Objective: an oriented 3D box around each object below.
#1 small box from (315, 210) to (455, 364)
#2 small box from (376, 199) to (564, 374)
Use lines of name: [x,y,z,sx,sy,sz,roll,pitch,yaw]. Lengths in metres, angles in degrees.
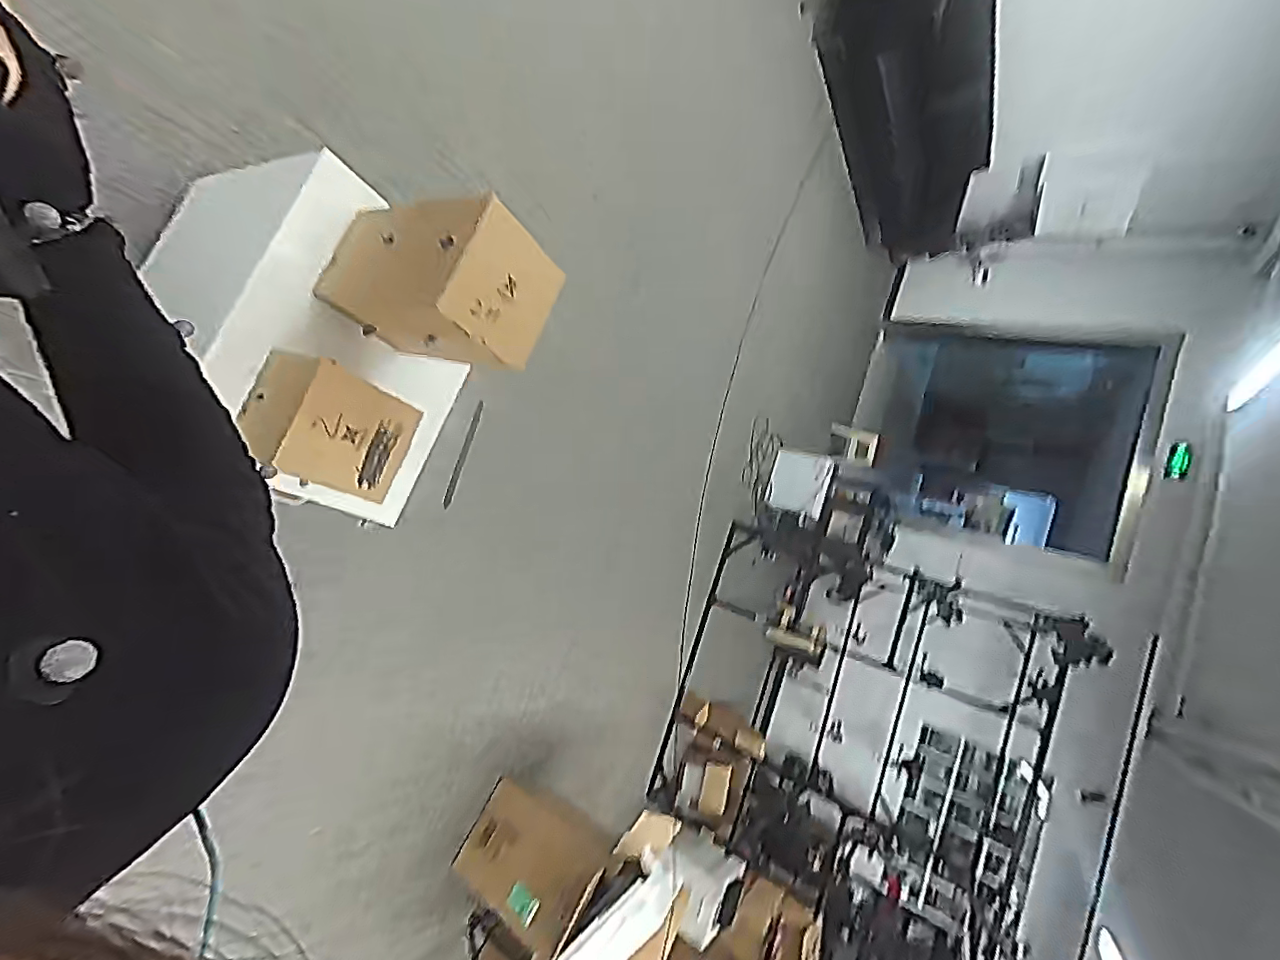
small box: [-0.381,-0.316,0.889,0.179,0.176,0.168,39,70,-56]
small box: [-0.249,-0.281,0.796,0.168,0.176,0.179,37,73,-54]
